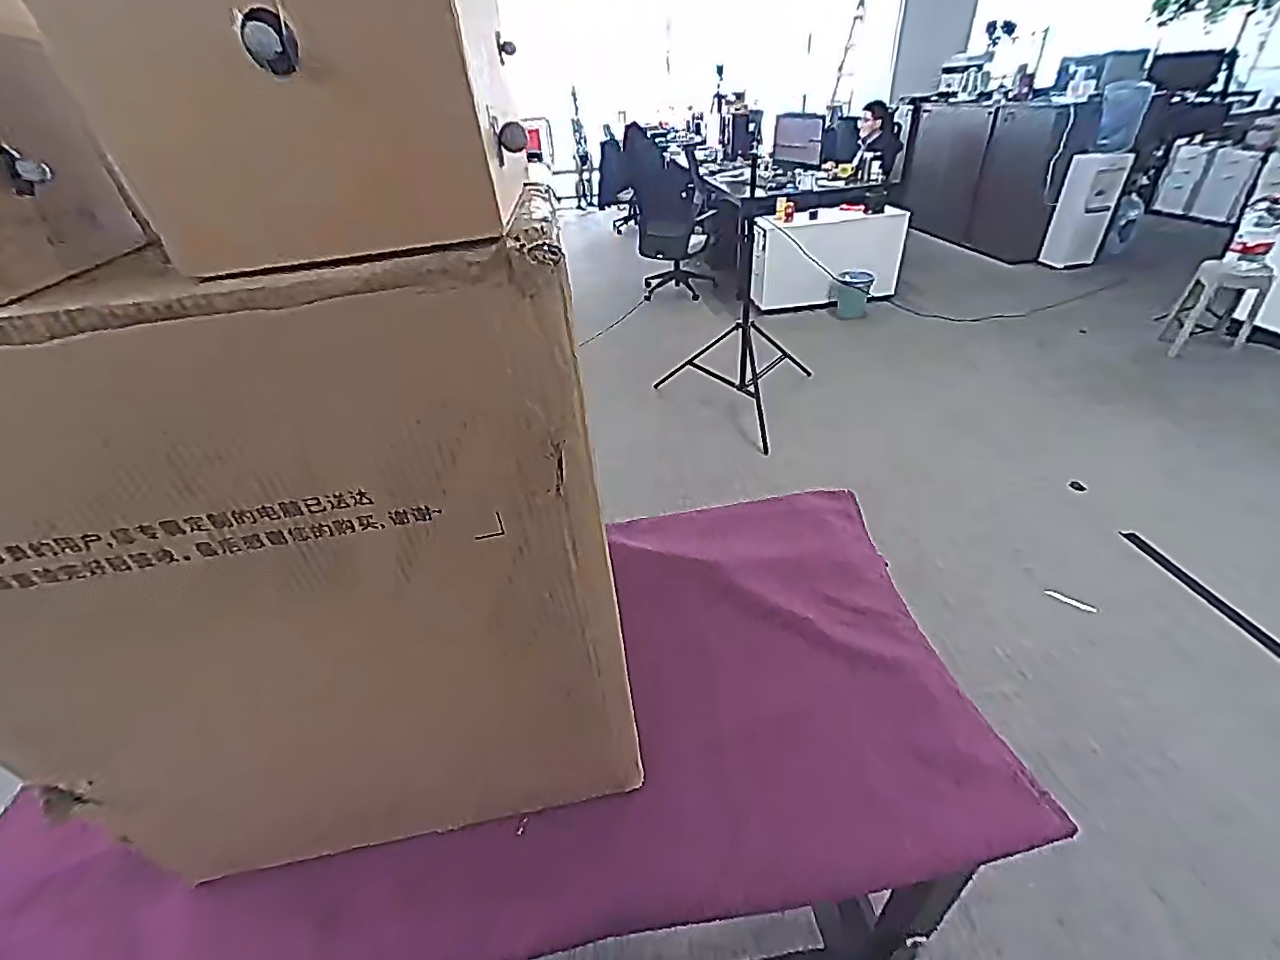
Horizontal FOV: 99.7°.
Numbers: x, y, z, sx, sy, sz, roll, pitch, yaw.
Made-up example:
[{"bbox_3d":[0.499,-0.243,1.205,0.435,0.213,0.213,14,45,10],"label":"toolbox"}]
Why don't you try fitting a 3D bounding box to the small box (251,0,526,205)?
[{"bbox_3d":[-0.200,-0.348,0.473,0.168,0.176,0.179,-9,36,-3],"label":"small box"}]
